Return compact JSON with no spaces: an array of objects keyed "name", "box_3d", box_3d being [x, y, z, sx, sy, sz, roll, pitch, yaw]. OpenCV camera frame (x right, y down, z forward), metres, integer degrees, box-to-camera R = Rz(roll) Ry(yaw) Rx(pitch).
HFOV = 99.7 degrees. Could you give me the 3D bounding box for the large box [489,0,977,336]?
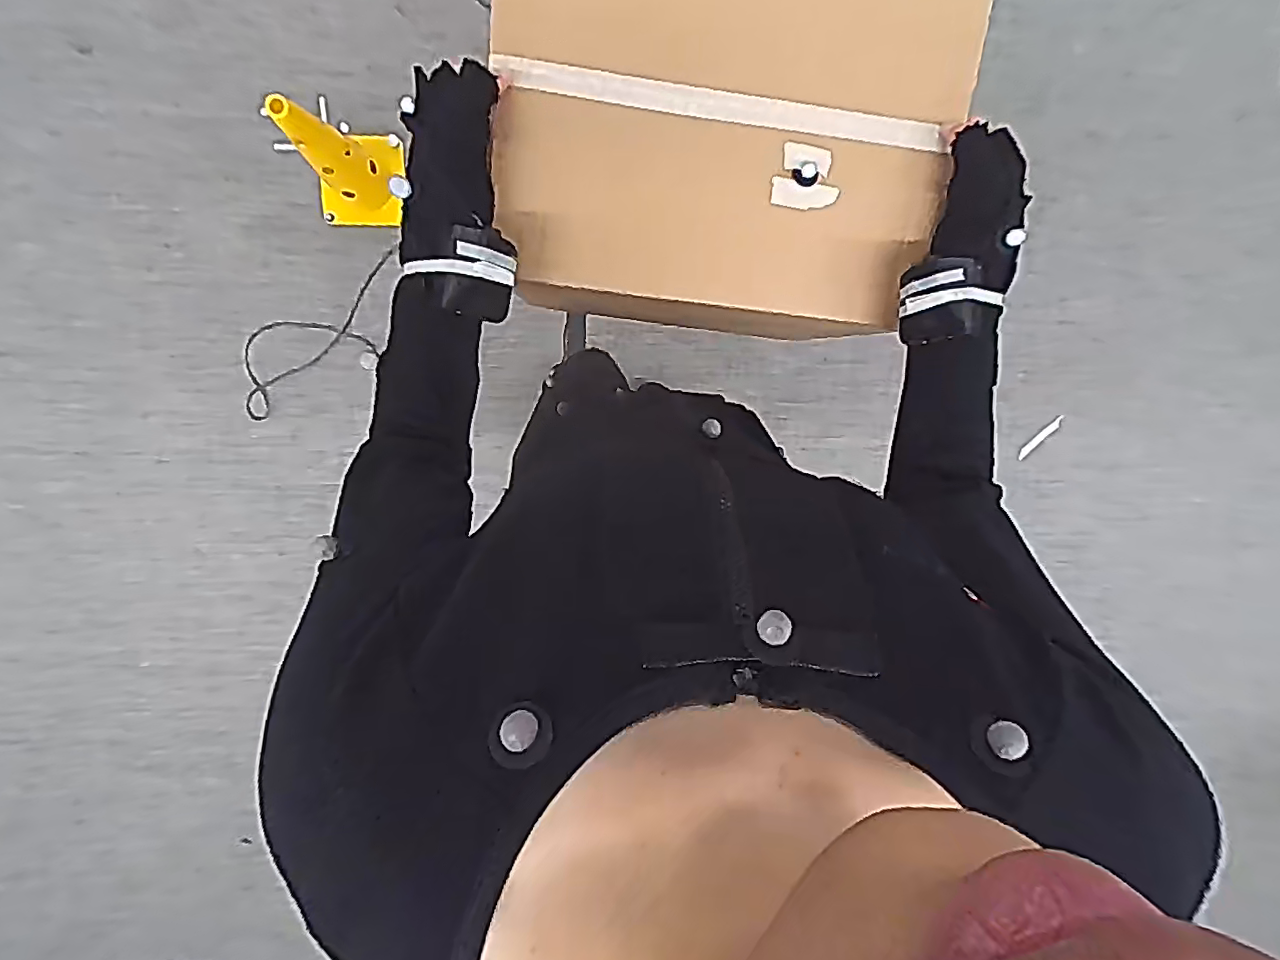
[{"name":"large box","box_3d":[0.064,-0.345,0.604,0.408,0.320,0.320,5,102,-6]}]
